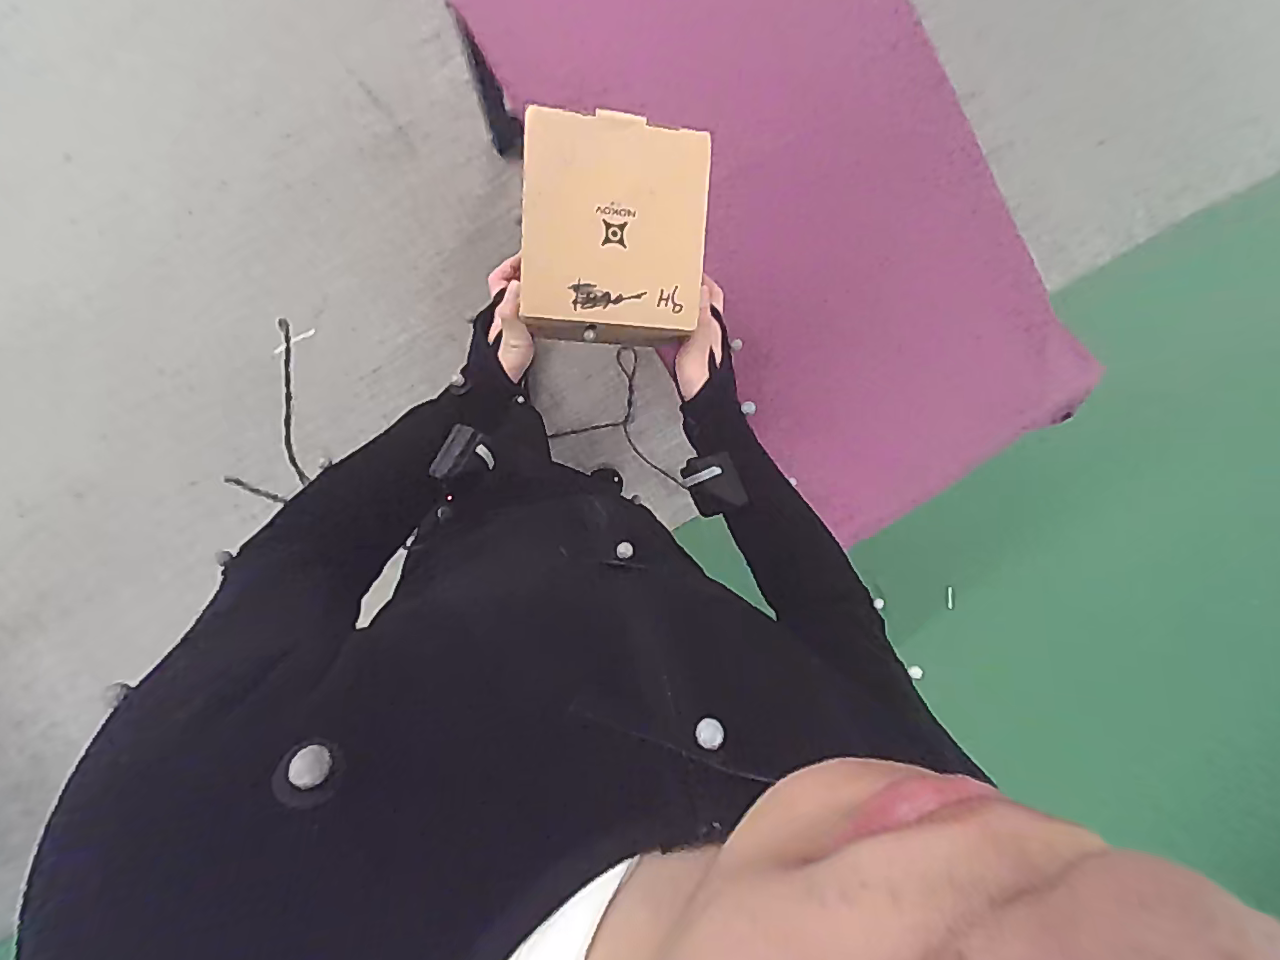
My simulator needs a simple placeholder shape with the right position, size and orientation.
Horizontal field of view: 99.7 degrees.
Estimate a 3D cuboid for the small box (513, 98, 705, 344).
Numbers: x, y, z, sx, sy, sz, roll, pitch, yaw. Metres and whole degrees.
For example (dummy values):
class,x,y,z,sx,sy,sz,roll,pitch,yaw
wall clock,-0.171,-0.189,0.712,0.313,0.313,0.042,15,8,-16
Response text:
class,x,y,z,sx,sy,sz,roll,pitch,yaw
small box,-0.039,-0.244,0.555,0.168,0.176,0.179,2,98,-9
